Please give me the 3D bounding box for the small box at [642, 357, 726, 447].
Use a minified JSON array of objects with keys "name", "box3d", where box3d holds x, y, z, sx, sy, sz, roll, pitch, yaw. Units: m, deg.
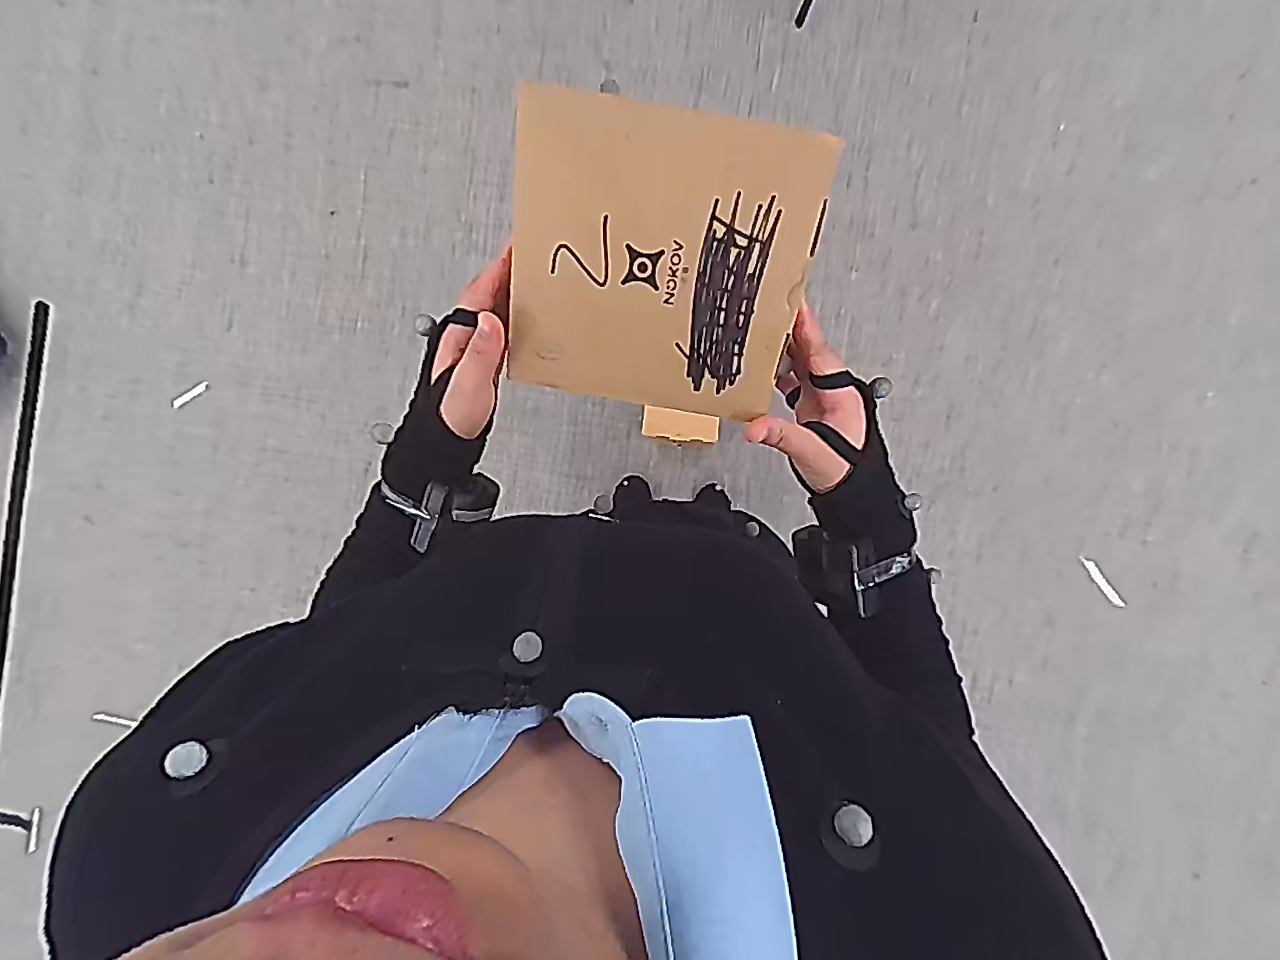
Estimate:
[{"name":"small box","box3d":[0.099,-0.173,1.240,0.168,0.176,0.179,6,92,5]}]
